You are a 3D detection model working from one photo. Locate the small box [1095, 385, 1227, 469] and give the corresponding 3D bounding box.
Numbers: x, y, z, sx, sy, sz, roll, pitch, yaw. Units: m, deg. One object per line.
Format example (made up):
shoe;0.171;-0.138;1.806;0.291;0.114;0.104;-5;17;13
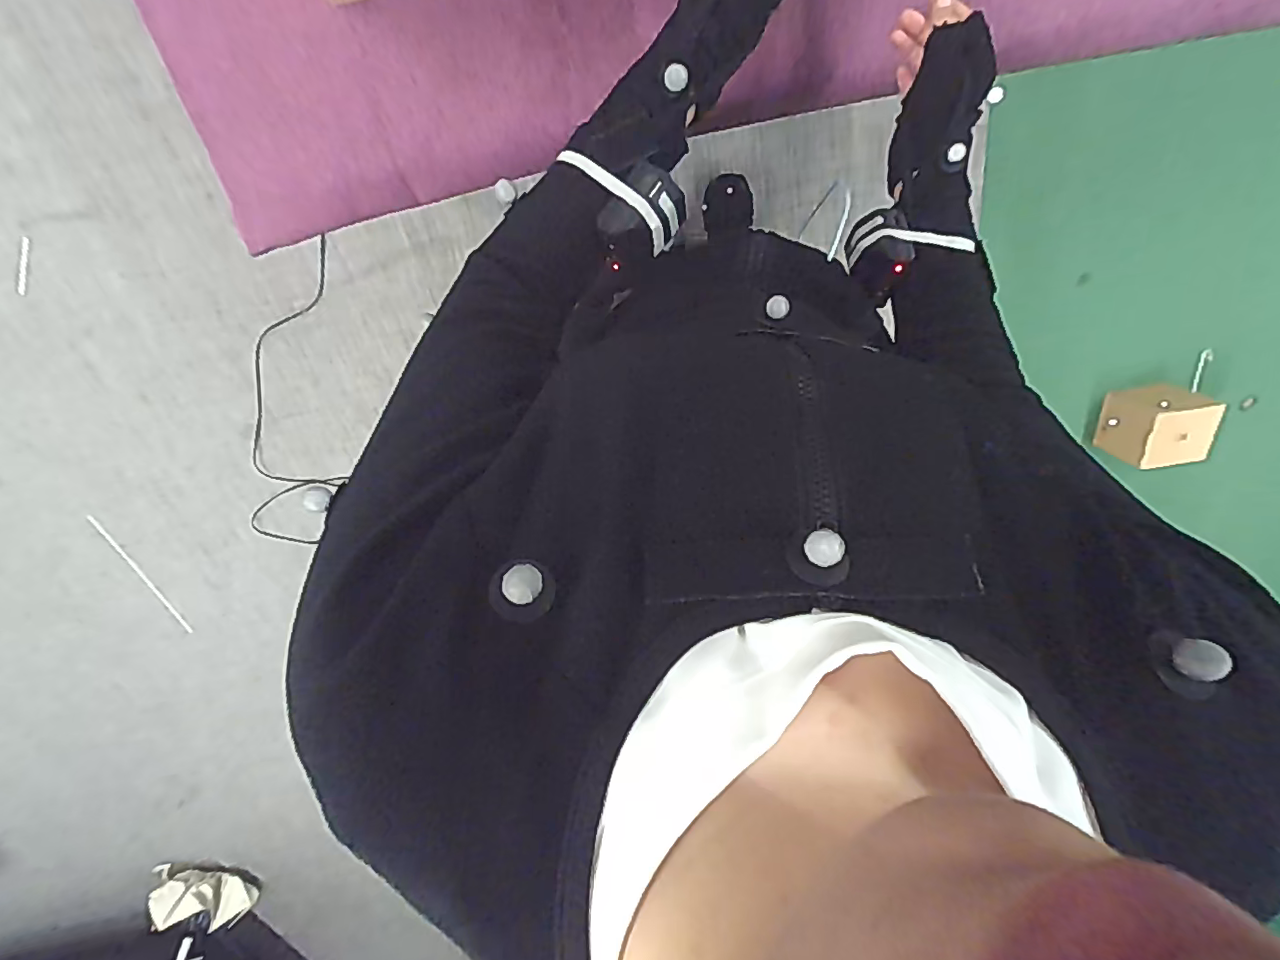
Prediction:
small box;1.422;-0.152;1.490;0.179;0.176;0.168;-9;119;3
